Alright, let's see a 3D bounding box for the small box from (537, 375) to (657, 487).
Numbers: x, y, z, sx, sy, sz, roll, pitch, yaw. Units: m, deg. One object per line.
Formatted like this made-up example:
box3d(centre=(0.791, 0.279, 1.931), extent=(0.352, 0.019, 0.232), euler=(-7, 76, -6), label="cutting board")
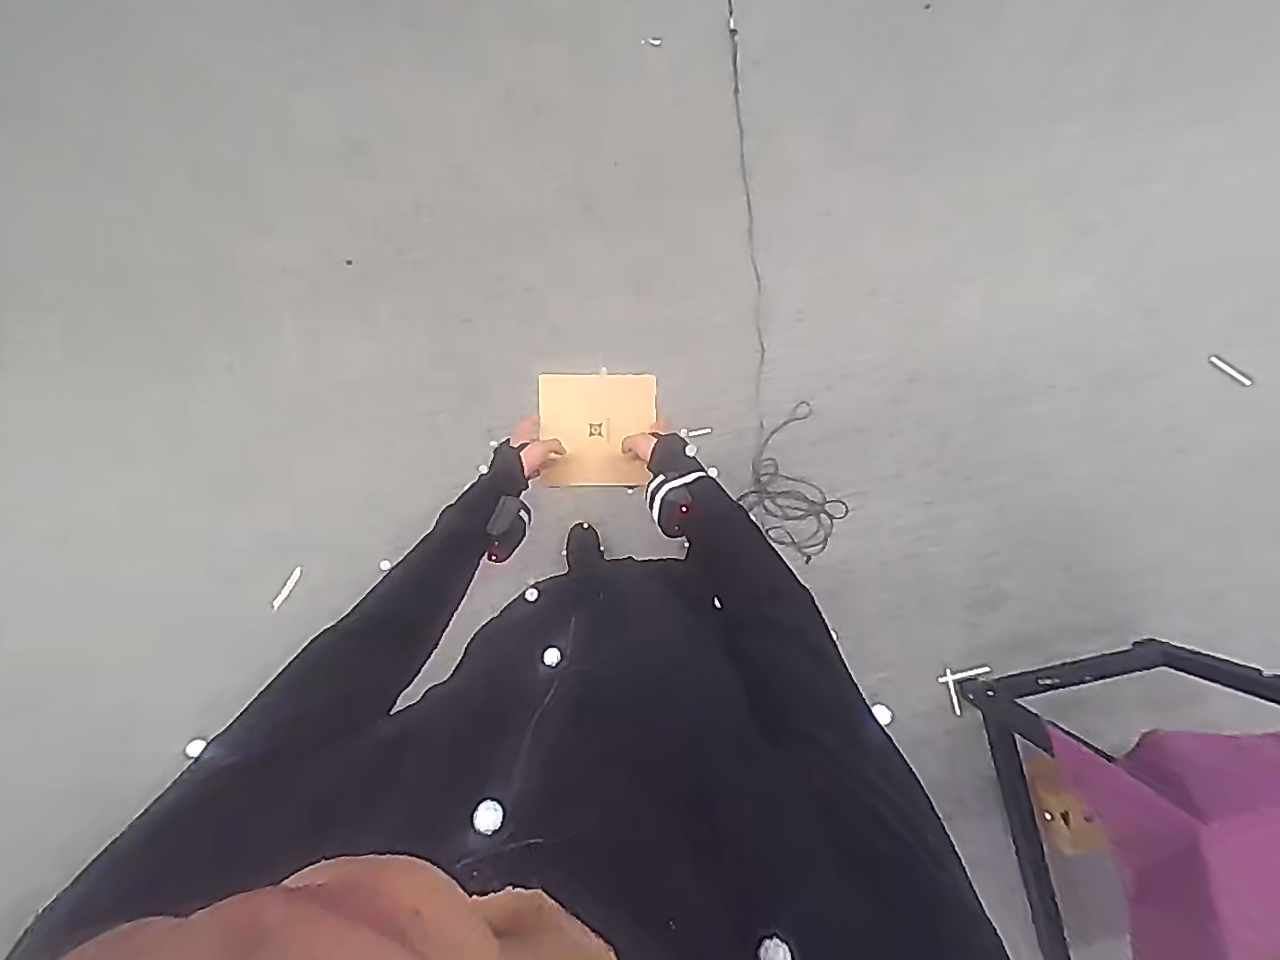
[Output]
box3d(centre=(-0.066, -0.071, 0.866), extent=(0.179, 0.176, 0.168), euler=(-1, 90, -4), label="small box")
